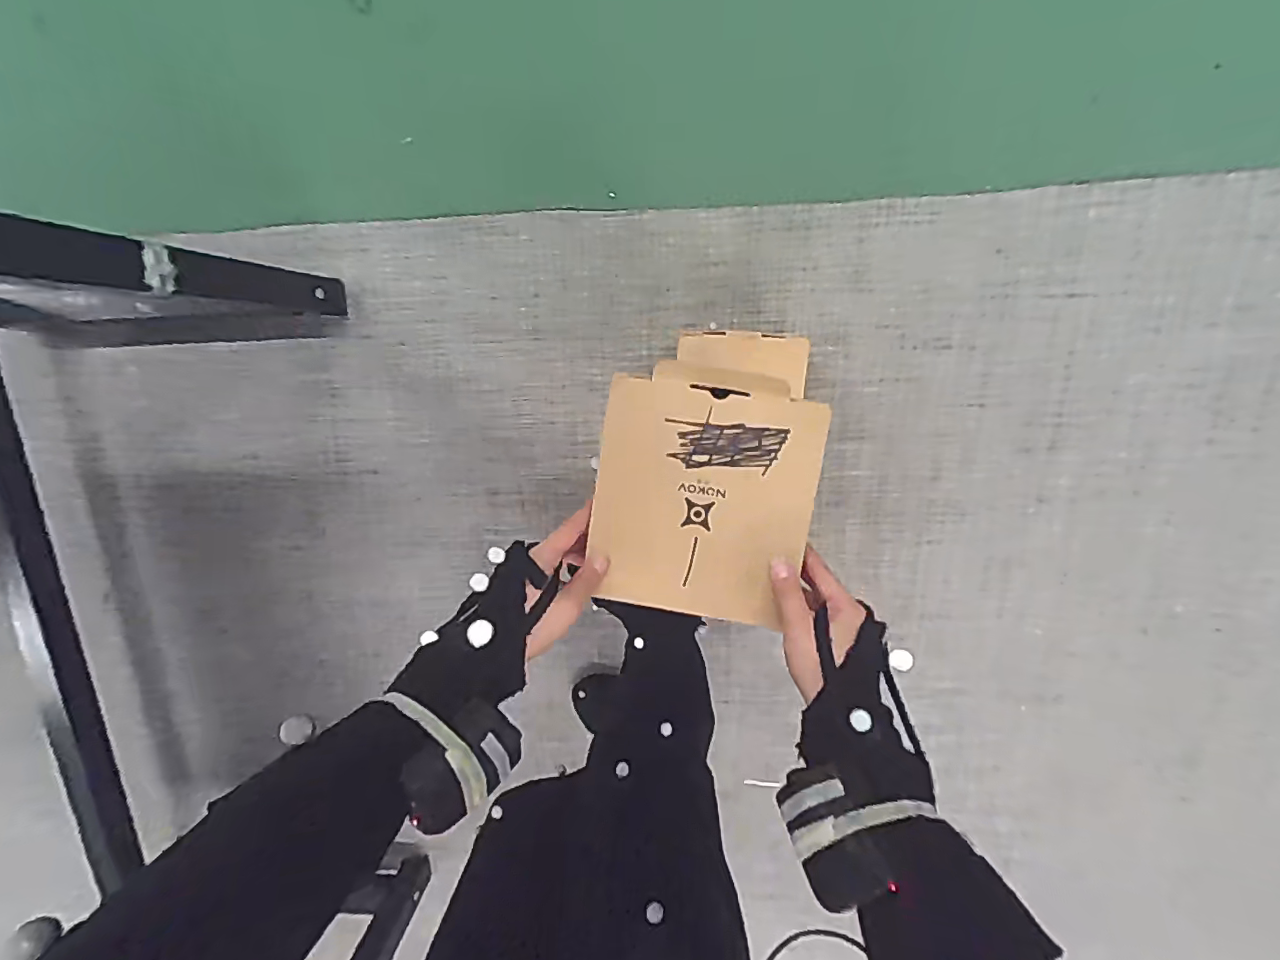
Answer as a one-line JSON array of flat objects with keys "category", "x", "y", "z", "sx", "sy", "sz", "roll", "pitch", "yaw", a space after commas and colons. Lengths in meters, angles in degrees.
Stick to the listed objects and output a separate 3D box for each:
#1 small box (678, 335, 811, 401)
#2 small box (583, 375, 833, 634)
[{"category": "small box", "x": 0.135, "y": -0.113, "z": 0.777, "sx": 0.168, "sy": 0.176, "sz": 0.179, "roll": 4, "pitch": 104, "yaw": 4}, {"category": "small box", "x": 0.055, "y": 0.012, "z": 0.486, "sx": 0.168, "sy": 0.176, "sz": 0.179, "roll": 9, "pitch": 96, "yaw": 4}]
